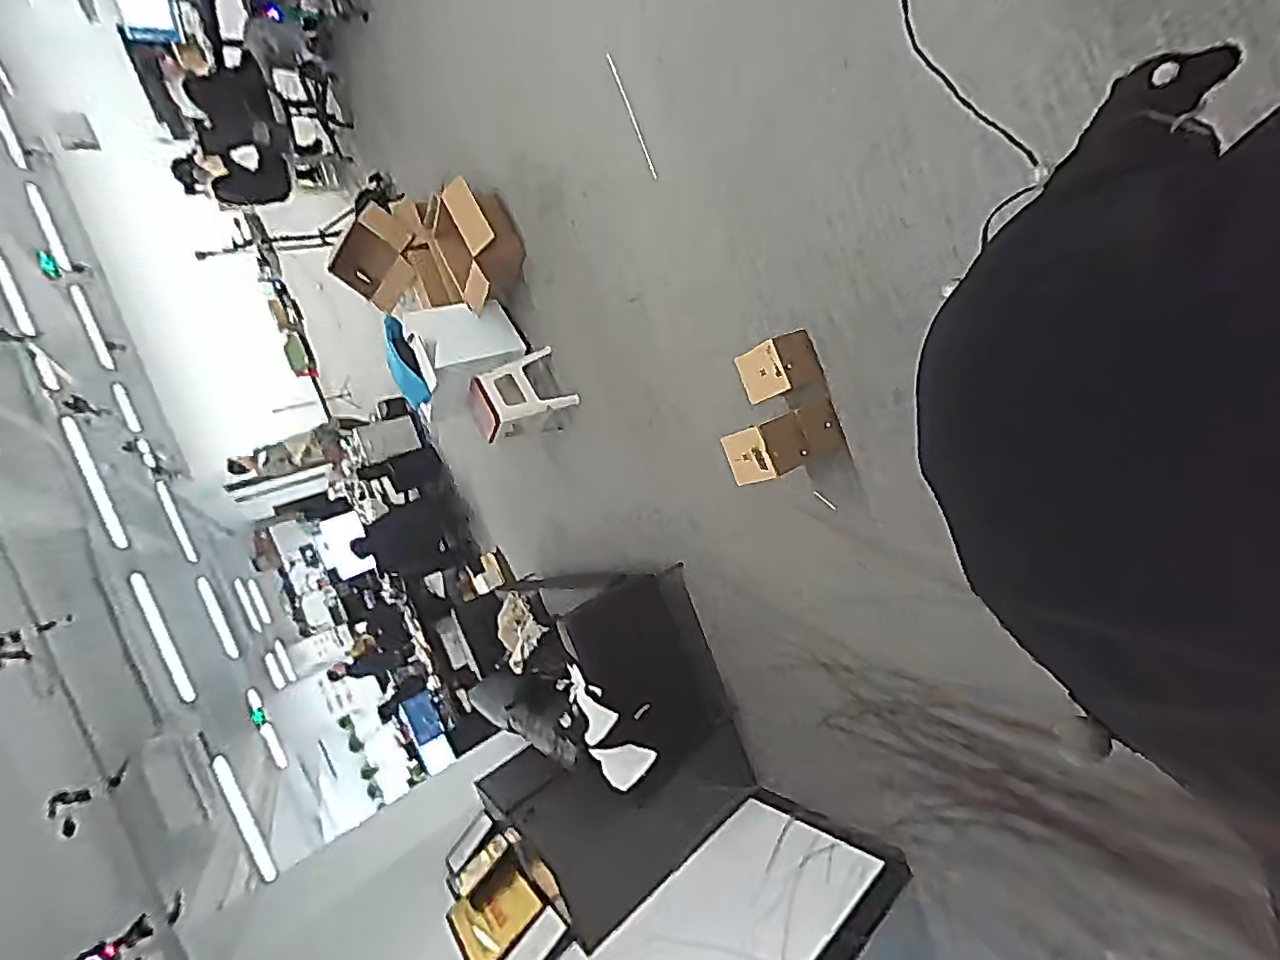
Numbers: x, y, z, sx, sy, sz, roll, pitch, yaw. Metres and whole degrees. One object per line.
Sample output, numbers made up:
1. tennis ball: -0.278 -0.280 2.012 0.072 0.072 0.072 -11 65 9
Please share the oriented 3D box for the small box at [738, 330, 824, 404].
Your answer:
1. small box: 0.456 -0.364 1.745 0.179 0.176 0.168 -20 93 58
